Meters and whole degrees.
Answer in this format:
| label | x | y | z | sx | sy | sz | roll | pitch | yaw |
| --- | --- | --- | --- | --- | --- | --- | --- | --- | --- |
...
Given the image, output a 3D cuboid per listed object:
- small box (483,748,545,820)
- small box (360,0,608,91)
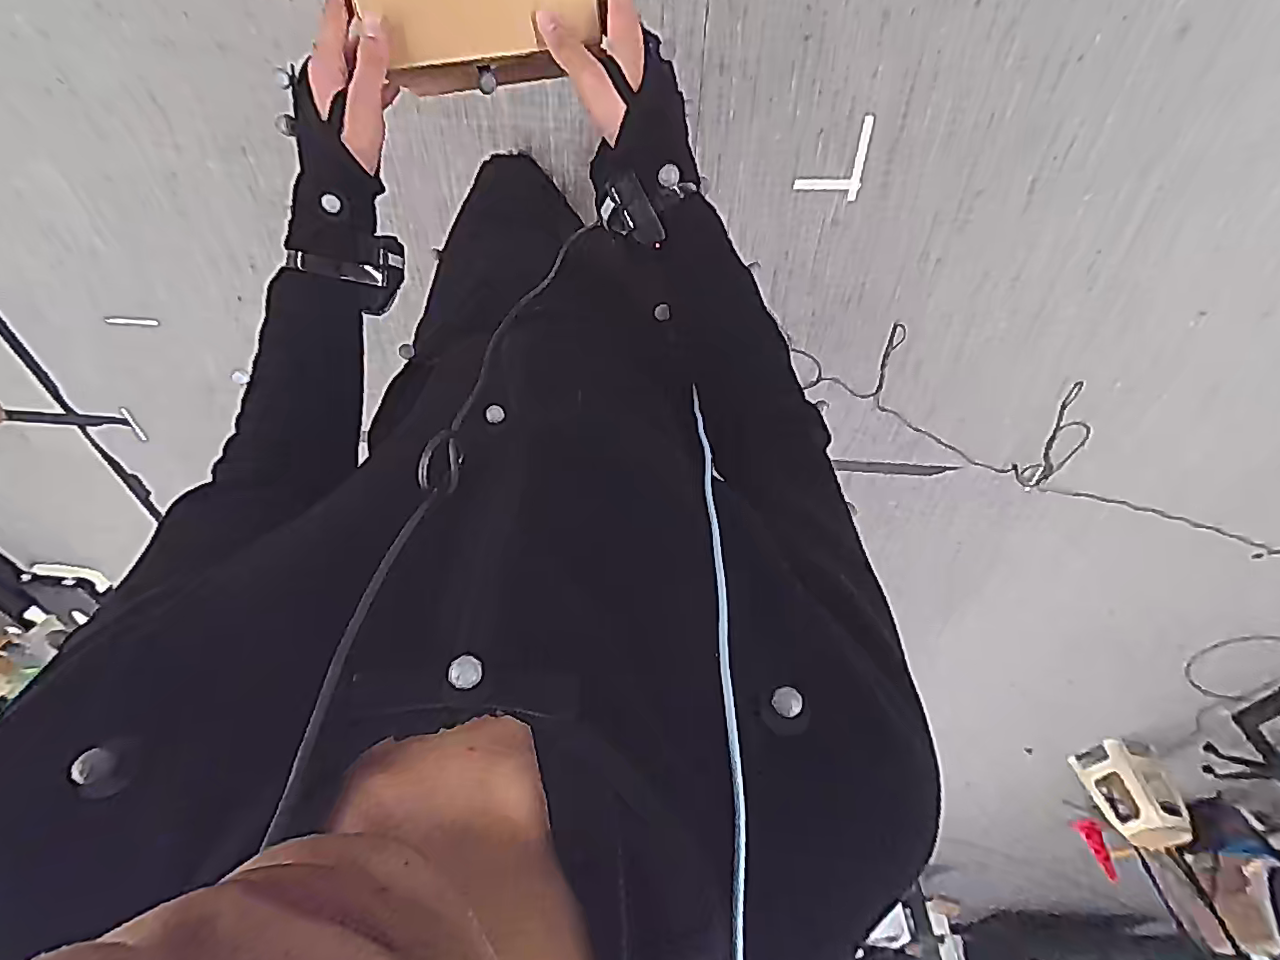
| label | x | y | z | sx | sy | sz | roll | pitch | yaw |
| --- | --- | --- | --- | --- | --- | --- | --- | --- | --- |
| small box | -0.417 | 1.017 | 1.812 | 0.168 | 0.176 | 0.179 | 3 | 132 | 0 |
| small box | -0.130 | -0.428 | 0.436 | 0.179 | 0.176 | 0.168 | -10 | 122 | -3 |
